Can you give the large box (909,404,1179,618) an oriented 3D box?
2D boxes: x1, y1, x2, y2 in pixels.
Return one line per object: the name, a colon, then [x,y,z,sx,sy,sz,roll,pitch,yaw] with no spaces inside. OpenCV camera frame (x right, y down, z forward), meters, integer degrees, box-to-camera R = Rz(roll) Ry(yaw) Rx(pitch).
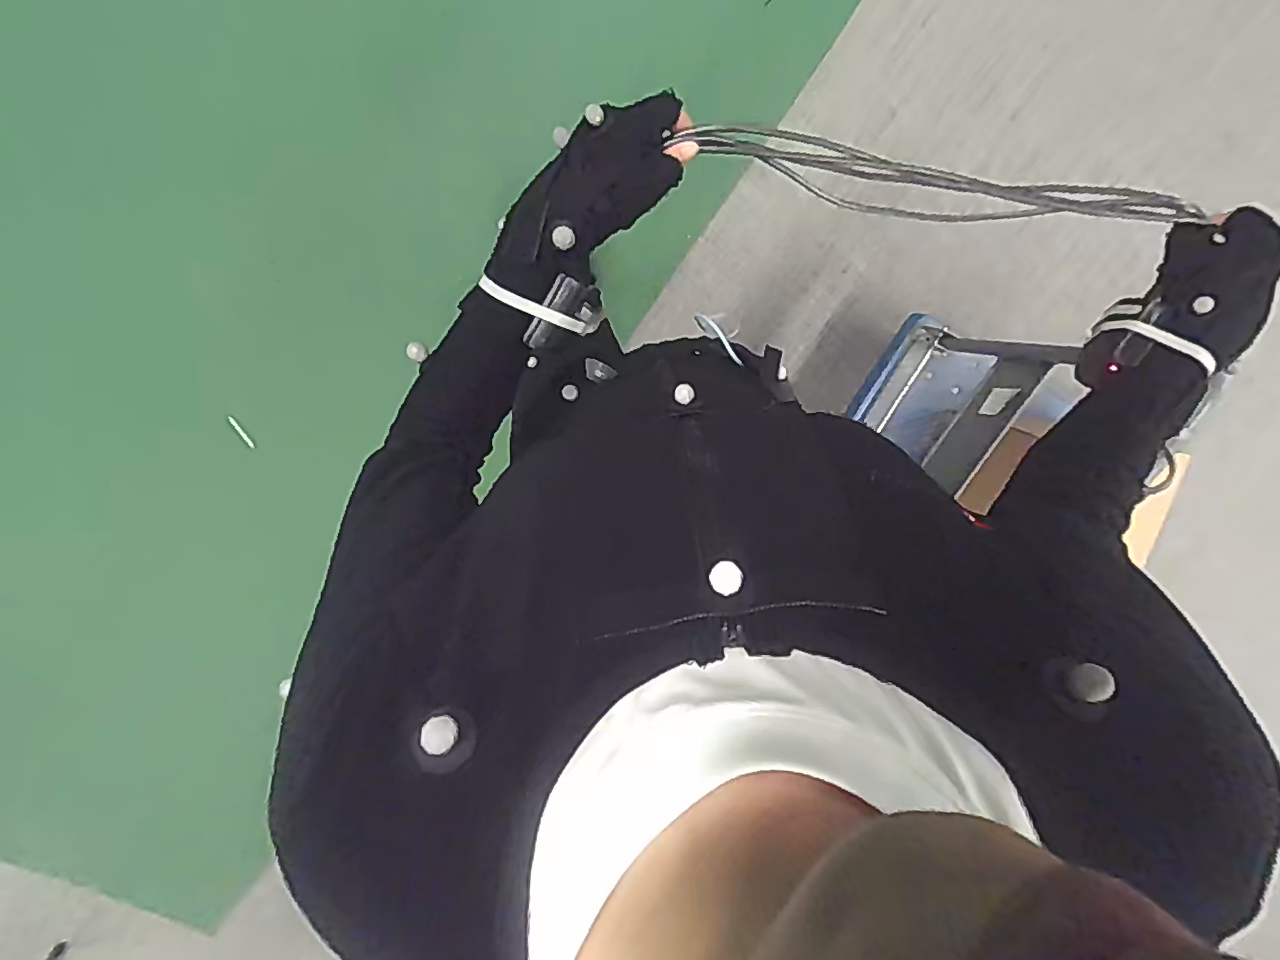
large box: [0.880,0.058,1.244,0.320,0.320,0.408,5,107,-6]
